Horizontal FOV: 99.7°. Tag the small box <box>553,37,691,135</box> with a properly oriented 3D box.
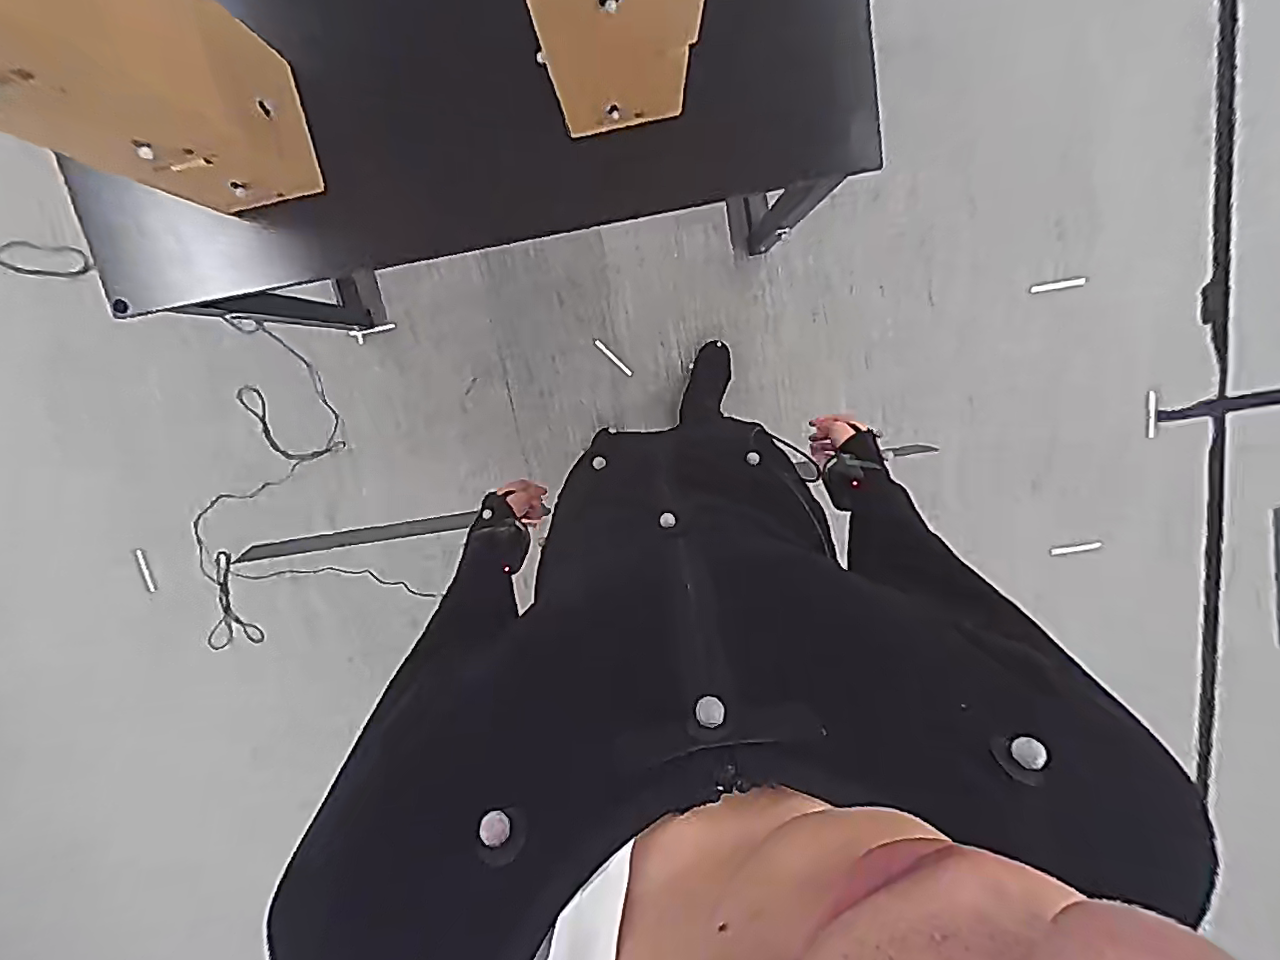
[{"bbox_3d":[-0.036,-0.580,0.687,0.168,0.176,0.179,-11,102,3],"label":"small box"}]

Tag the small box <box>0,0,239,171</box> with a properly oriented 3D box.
[{"bbox_3d":[-0.564,-0.448,0.547,0.168,0.176,0.179,-11,102,3],"label":"small box"}]

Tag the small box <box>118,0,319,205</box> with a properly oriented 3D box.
[{"bbox_3d":[-0.563,-0.480,0.709,0.168,0.176,0.179,-12,102,2],"label":"small box"}]

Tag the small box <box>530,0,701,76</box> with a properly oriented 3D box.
[{"bbox_3d":[-0.036,-0.540,0.528,0.179,0.176,0.168,-14,102,2],"label":"small box"}]
